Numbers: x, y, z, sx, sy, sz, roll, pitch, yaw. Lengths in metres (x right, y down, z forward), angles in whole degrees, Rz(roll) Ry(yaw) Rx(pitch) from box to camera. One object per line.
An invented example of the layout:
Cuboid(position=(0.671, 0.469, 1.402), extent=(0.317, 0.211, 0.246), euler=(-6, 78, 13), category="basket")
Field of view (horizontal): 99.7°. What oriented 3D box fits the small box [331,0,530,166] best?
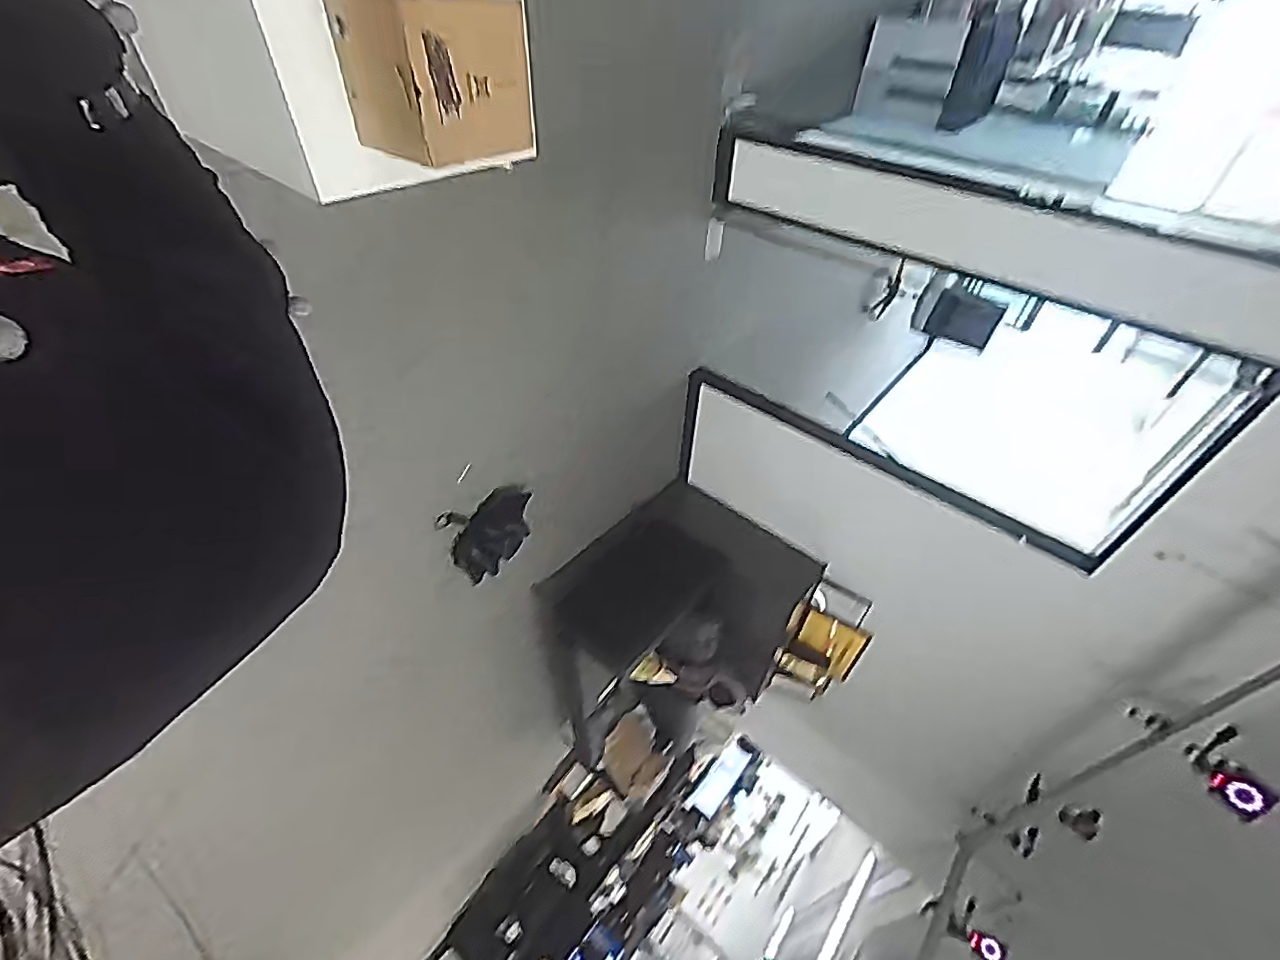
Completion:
Cuboid(position=(-0.271, -0.528, 0.708), extent=(0.179, 0.176, 0.168), euler=(-38, 147, -36), category="small box")
